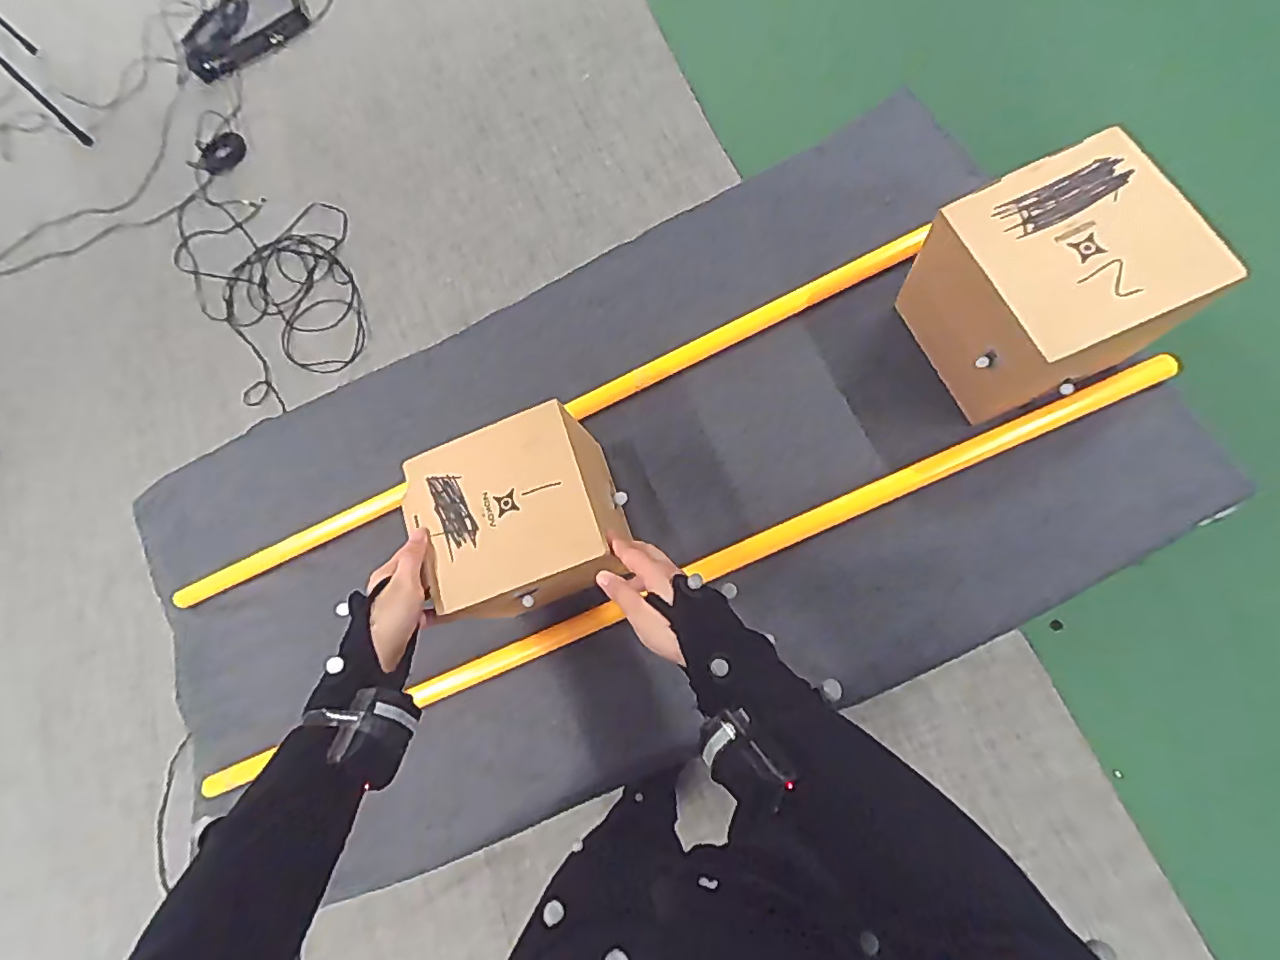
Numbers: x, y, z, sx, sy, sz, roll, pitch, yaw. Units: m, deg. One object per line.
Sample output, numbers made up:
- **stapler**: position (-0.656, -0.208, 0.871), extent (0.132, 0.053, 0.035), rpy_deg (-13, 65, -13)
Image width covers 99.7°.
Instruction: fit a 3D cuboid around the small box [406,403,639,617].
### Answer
- **small box**: position (-0.118, 0.045, 0.594), extent (0.179, 0.176, 0.168), rpy_deg (-21, 74, 6)
